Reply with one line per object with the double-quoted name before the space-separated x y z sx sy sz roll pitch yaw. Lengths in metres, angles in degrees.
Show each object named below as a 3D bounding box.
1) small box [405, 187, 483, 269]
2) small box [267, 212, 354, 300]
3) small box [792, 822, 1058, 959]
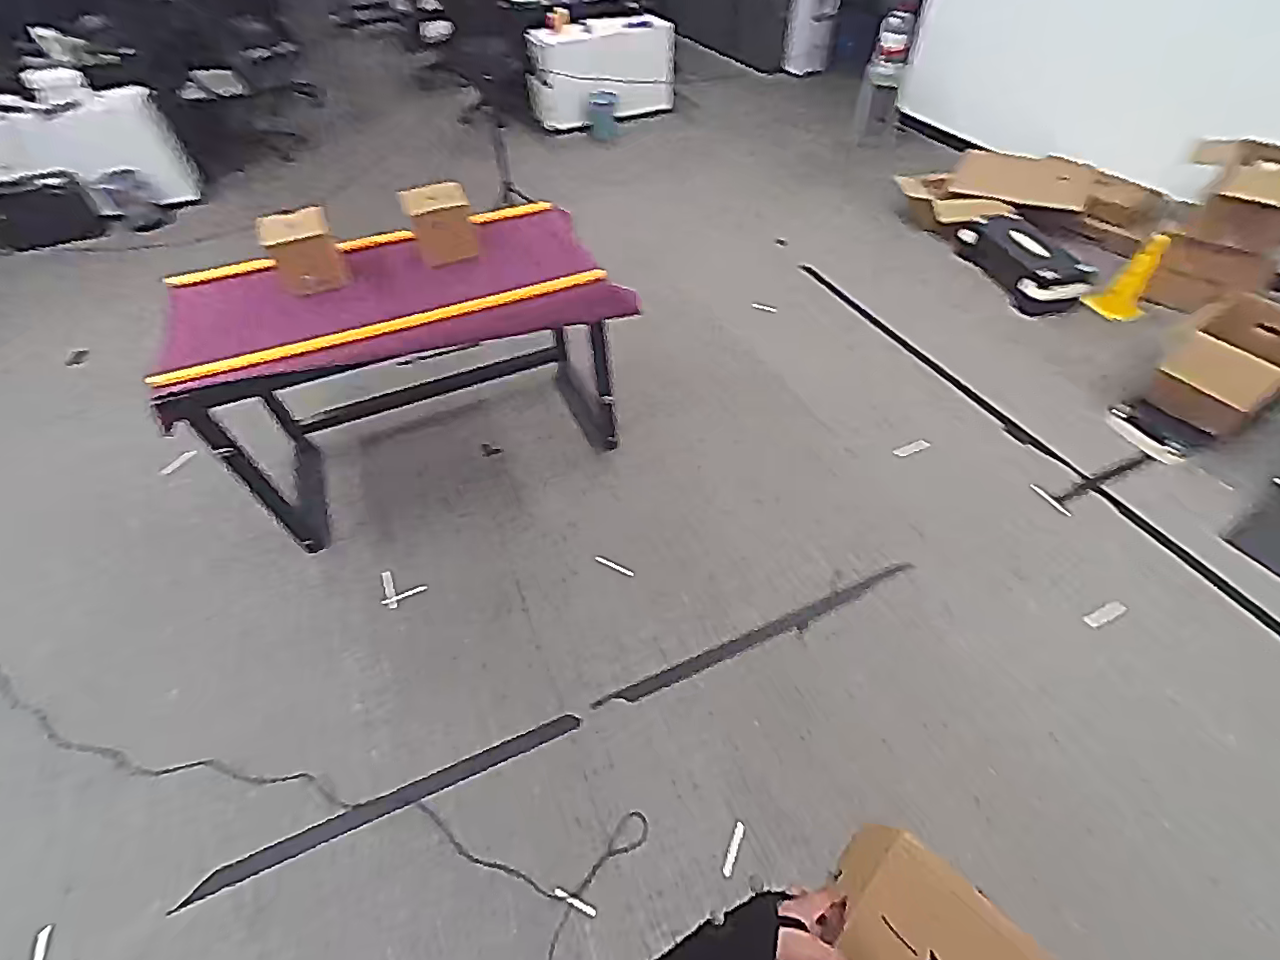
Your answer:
"small box" -0.615 -0.794 1.709 0.179 0.176 0.168 -19 54 -13
"small box" -0.988 -0.672 1.625 0.168 0.176 0.179 -22 54 -14
"small box" 0.284 0.492 0.569 0.179 0.176 0.168 35 71 24
